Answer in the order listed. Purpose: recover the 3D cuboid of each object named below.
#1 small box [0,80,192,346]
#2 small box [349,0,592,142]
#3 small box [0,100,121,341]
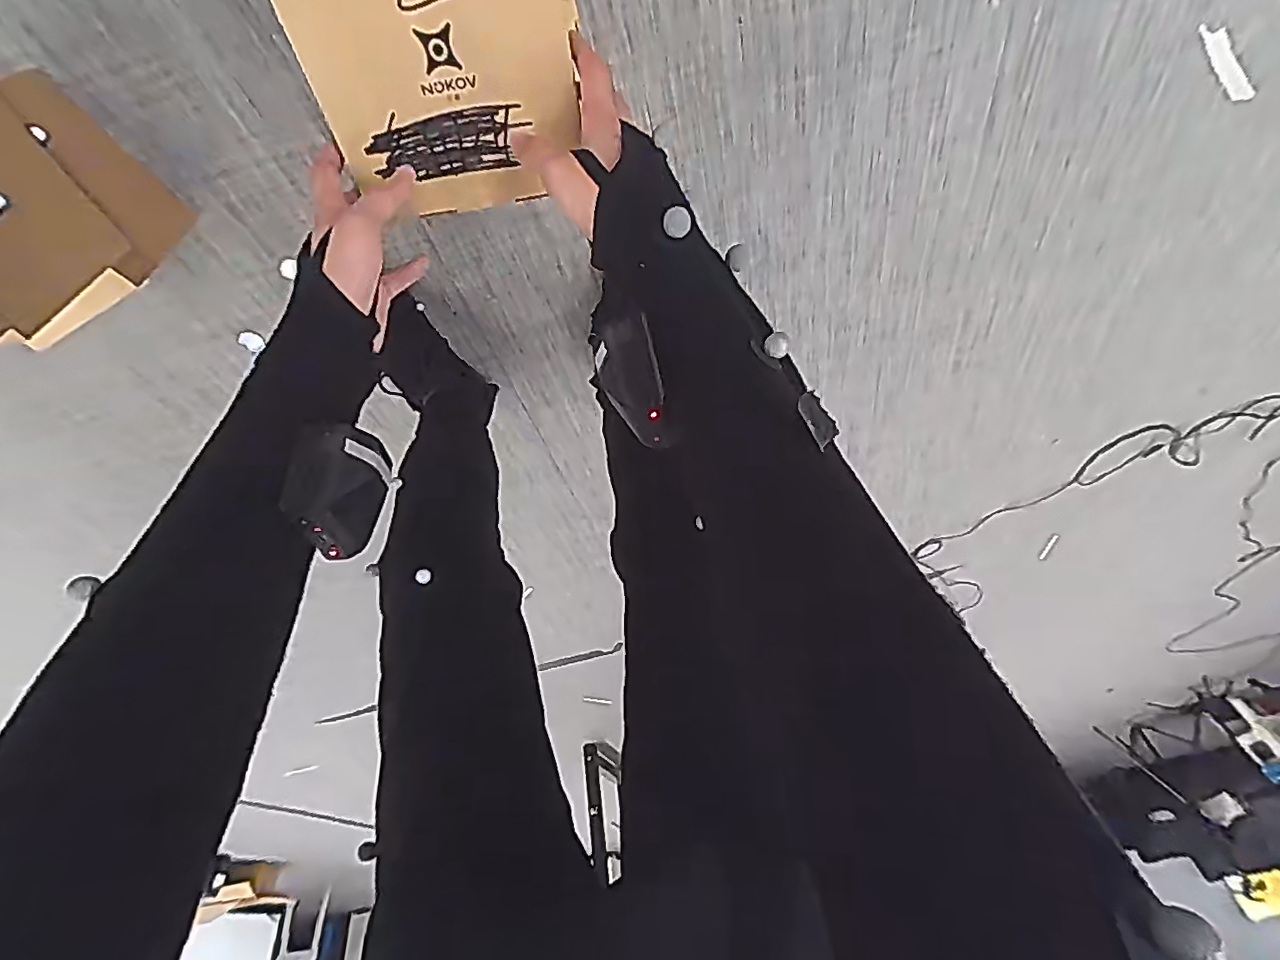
[{"bbox_3d":[-0.642,-0.284,0.571,0.168,0.176,0.179,-22,138,14],"label":"small box"},{"bbox_3d":[-0.154,-0.446,0.495,0.179,0.176,0.168,-15,139,4],"label":"small box"},{"bbox_3d":[-0.583,-0.212,0.416,0.168,0.176,0.179,-12,139,3],"label":"small box"}]
